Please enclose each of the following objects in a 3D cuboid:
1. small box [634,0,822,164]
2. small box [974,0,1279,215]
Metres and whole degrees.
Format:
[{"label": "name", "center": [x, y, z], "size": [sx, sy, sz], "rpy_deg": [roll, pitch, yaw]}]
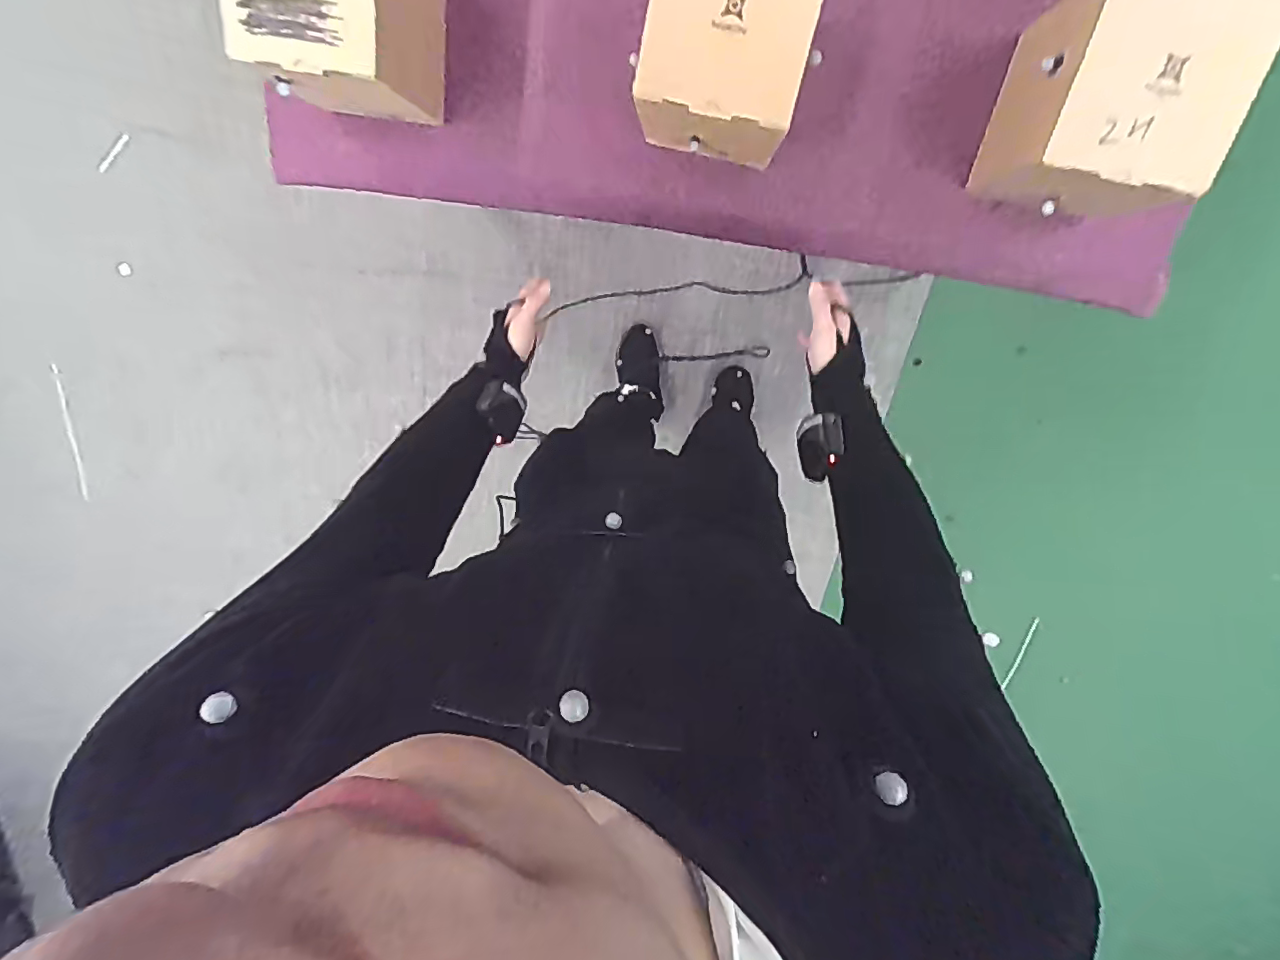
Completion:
[{"label": "small box", "center": [0.096, -0.481, 0.600], "size": [0.168, 0.176, 0.179], "rpy_deg": [13, 110, 1]}, {"label": "small box", "center": [0.501, -0.405, 0.580], "size": [0.168, 0.176, 0.179], "rpy_deg": [13, 110, 3]}]
